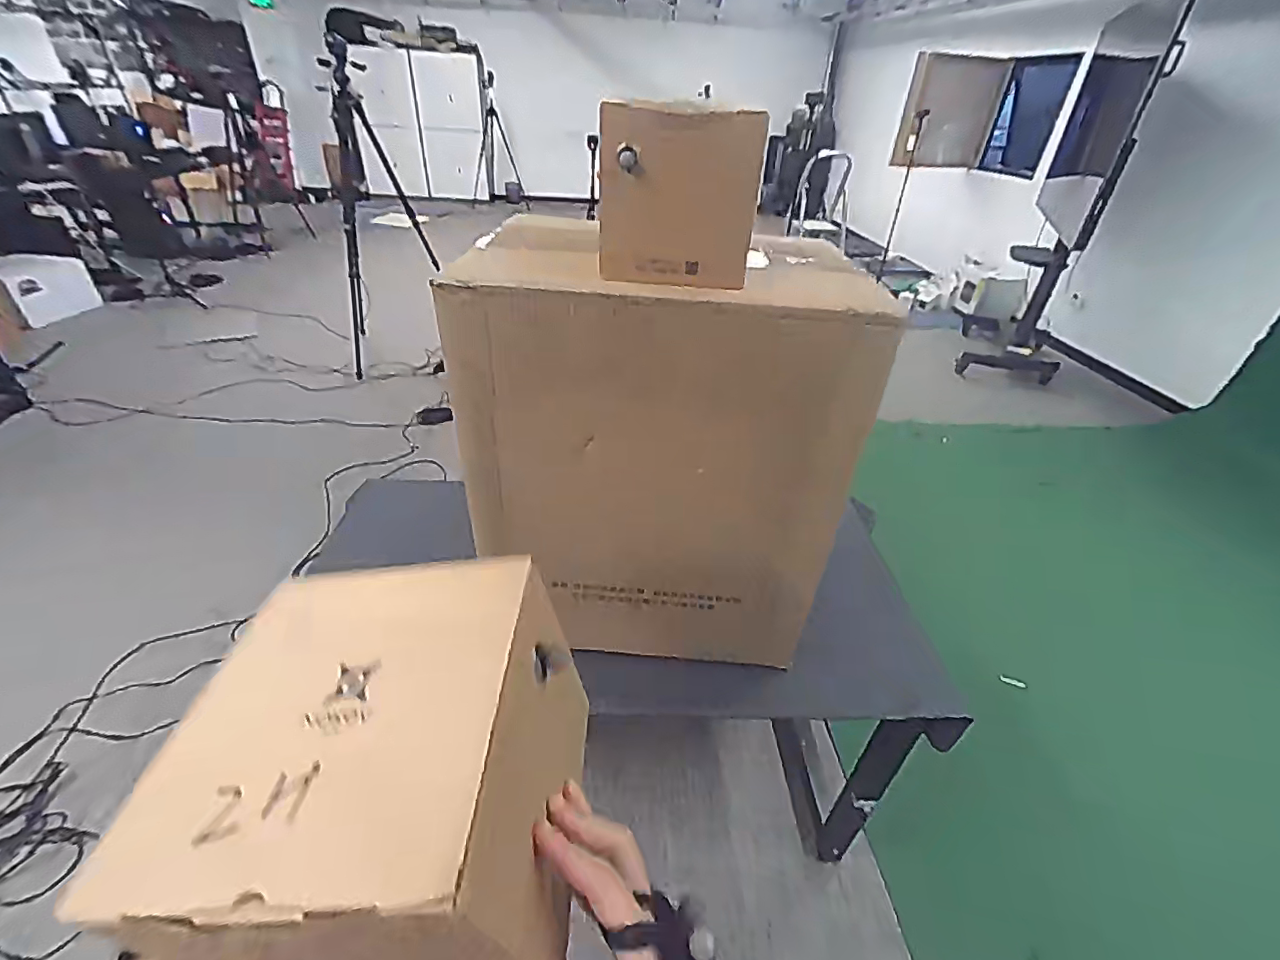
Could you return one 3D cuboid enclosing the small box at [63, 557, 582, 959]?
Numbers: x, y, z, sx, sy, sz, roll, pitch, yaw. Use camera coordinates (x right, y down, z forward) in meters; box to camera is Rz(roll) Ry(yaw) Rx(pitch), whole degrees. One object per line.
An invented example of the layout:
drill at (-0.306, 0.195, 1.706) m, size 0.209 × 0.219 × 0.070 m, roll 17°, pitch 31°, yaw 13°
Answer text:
small box at (-0.133, 0.168, 0.316) m, size 0.168 × 0.176 × 0.179 m, roll -5°, pitch 40°, yaw 6°
